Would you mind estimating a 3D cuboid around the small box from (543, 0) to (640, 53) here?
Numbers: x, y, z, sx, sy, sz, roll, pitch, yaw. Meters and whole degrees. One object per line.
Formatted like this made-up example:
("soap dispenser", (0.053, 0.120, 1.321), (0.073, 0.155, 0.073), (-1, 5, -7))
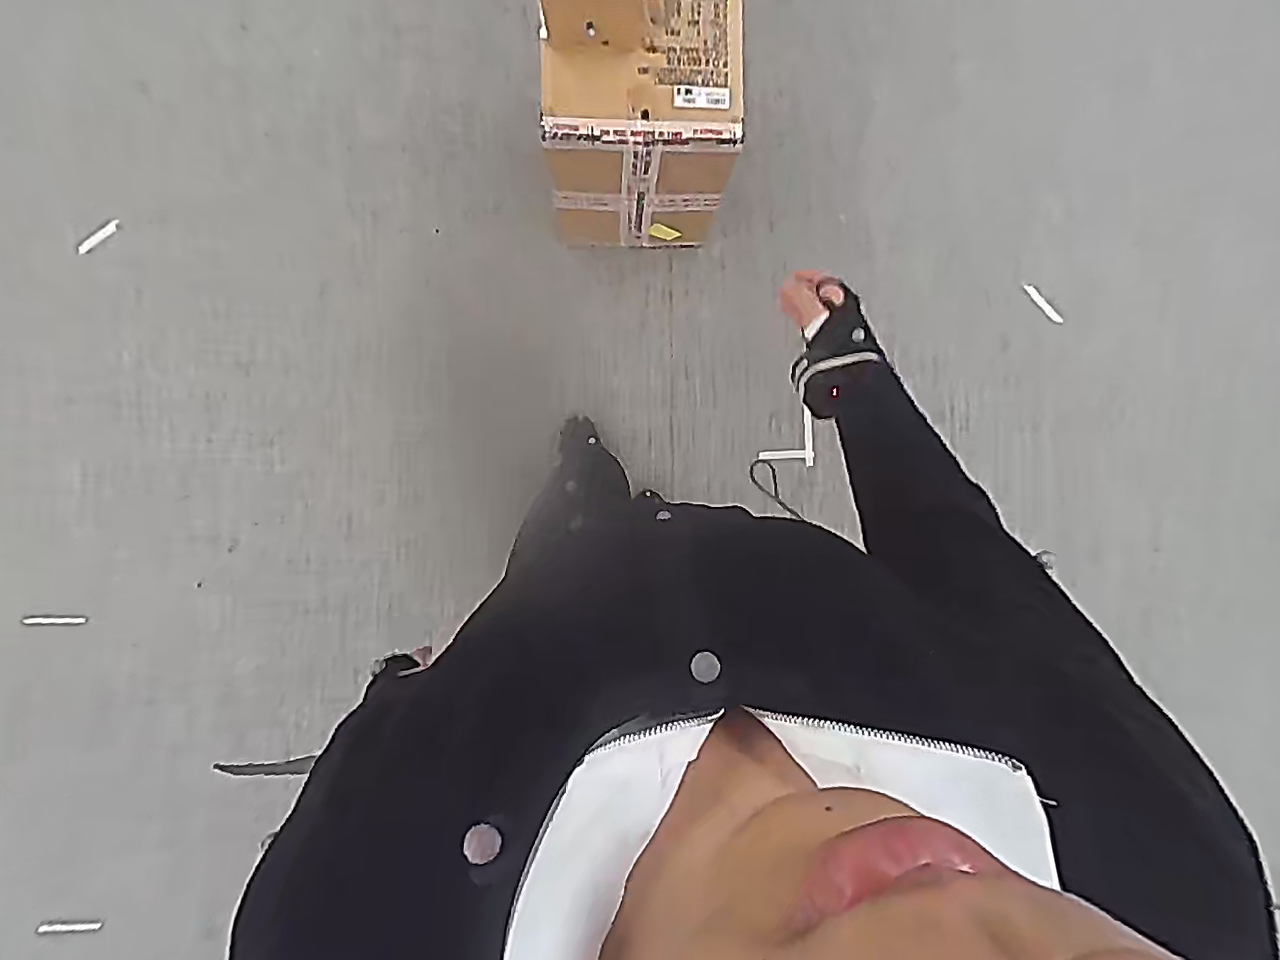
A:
("small box", (-0.084, -0.886, 0.928), (0.168, 0.176, 0.179), (-1, 93, -1))
